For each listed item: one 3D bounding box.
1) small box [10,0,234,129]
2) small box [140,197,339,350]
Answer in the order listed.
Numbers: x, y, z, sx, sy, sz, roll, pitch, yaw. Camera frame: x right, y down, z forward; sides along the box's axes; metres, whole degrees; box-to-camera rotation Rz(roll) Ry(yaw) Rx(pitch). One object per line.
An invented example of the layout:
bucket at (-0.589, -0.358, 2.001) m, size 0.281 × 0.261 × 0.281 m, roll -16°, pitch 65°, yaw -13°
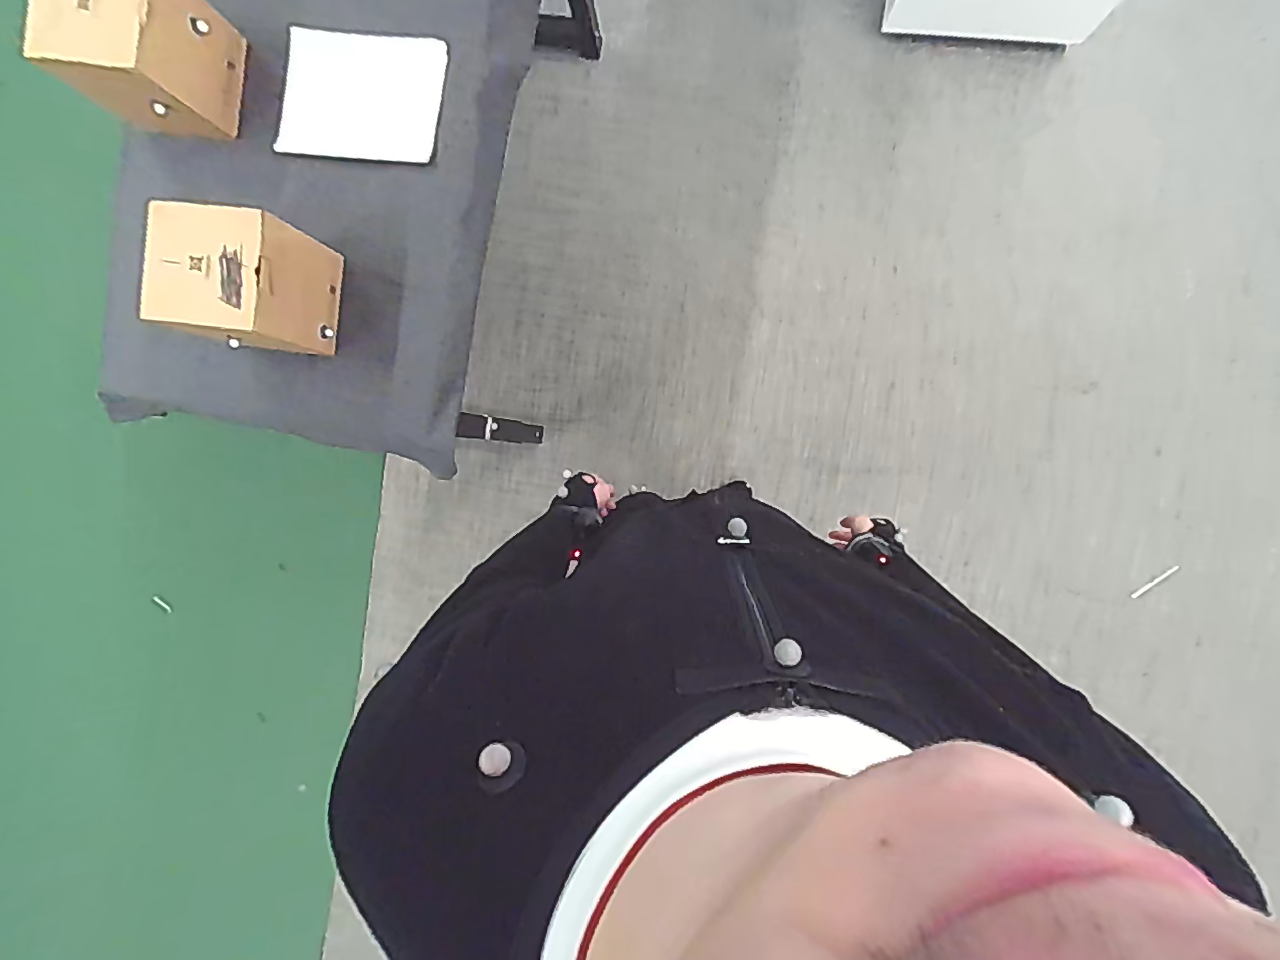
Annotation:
small box at (-0.751, -0.657, 0.802) m, size 0.179 × 0.176 × 0.168 m, roll 9°, pitch 92°, yaw 5°
small box at (-0.589, -0.299, 0.816) m, size 0.179 × 0.176 × 0.168 m, roll 8°, pitch 92°, yaw 5°
